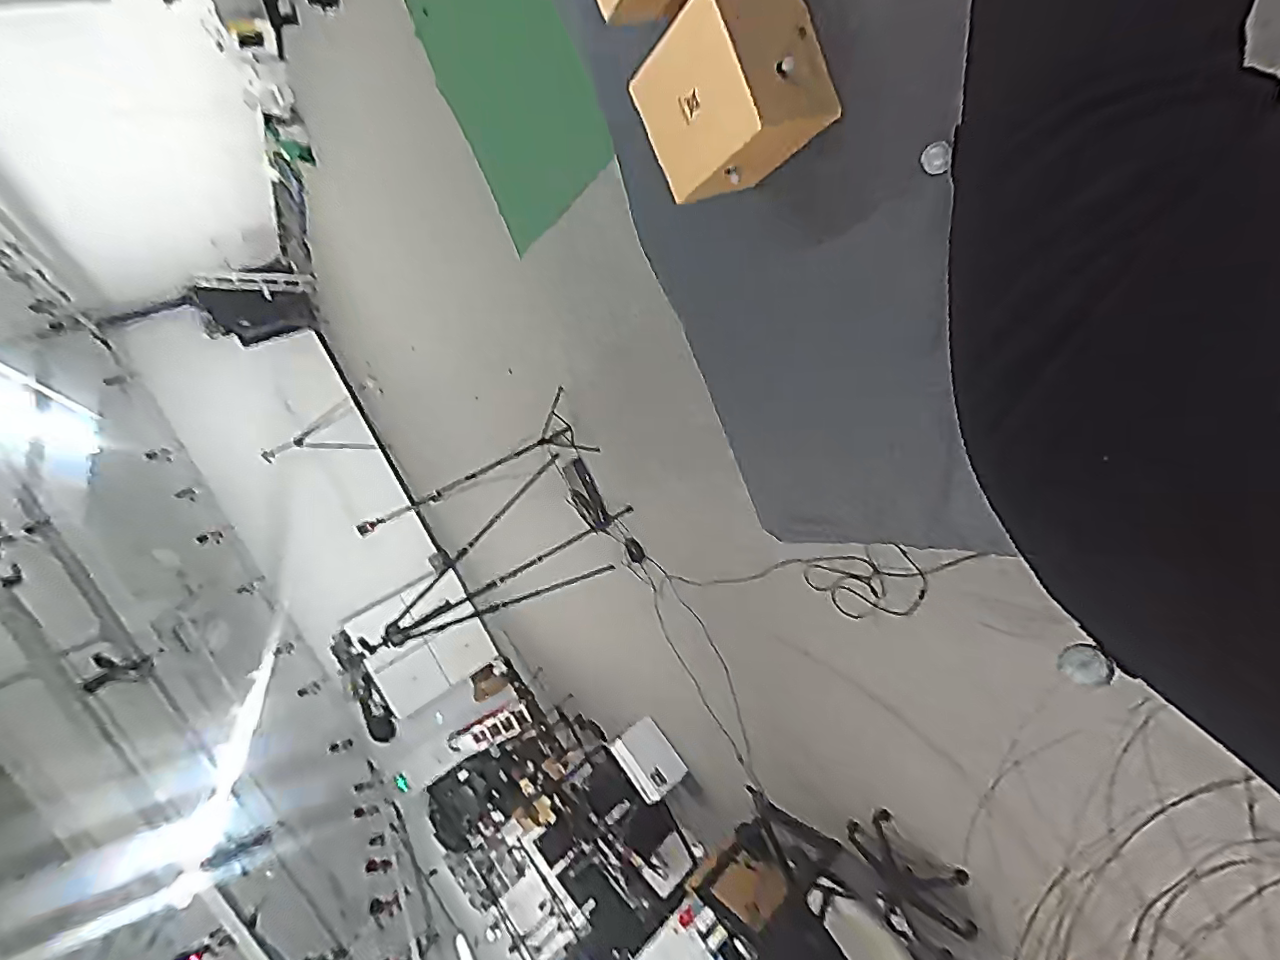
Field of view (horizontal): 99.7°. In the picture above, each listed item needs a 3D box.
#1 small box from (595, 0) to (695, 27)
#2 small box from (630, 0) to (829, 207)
[{"bbox_3d":[0.025,-0.714,0.668,0.179,0.176,0.168,-9,108,60],"label":"small box"},{"bbox_3d":[0.123,-0.500,0.717,0.179,0.176,0.168,-9,109,60],"label":"small box"}]
